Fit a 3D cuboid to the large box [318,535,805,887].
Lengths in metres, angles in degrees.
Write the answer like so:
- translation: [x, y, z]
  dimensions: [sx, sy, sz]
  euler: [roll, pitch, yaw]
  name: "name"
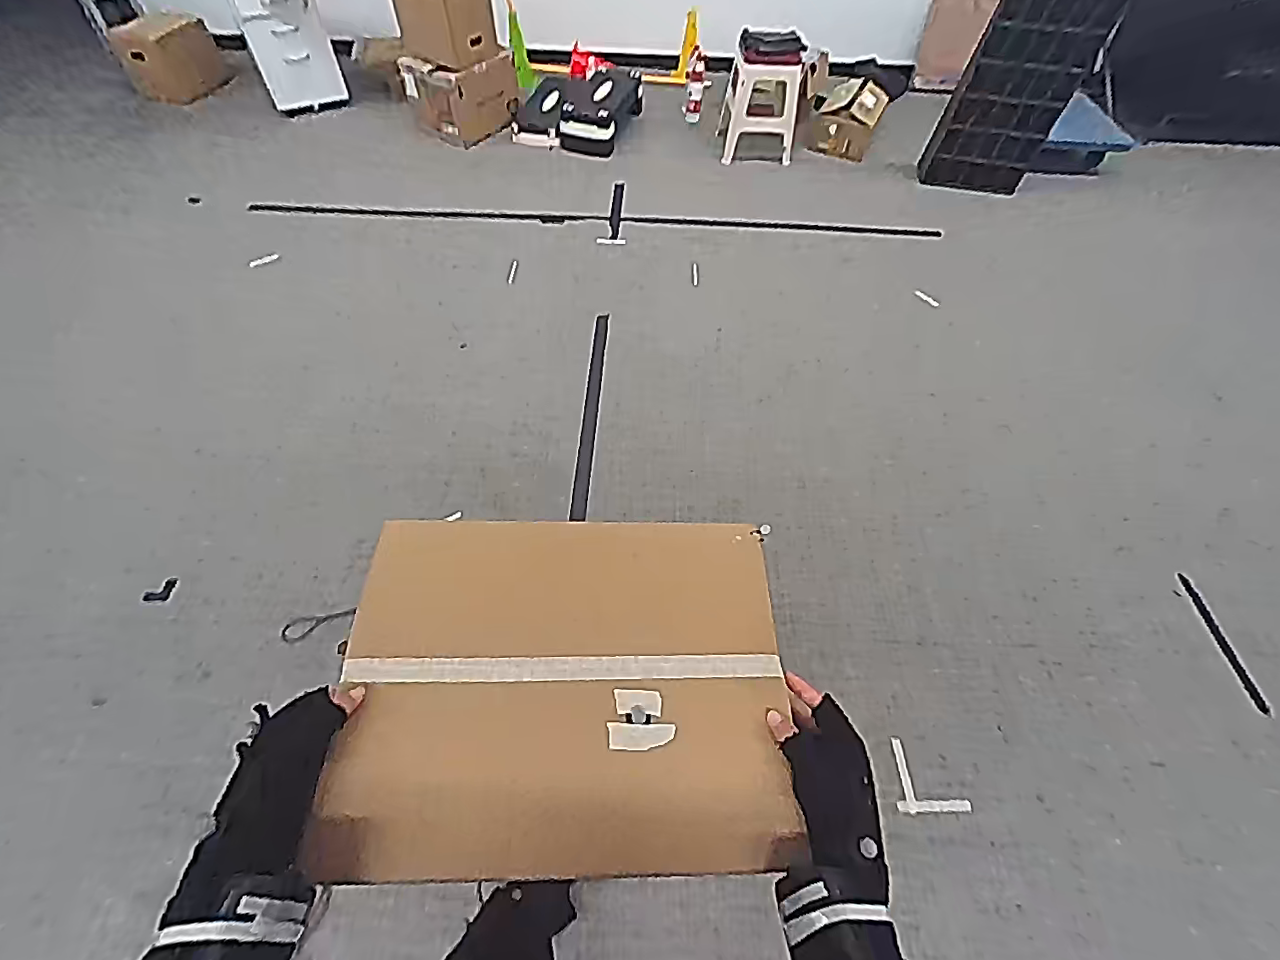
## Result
- translation: [-0.073, 0.273, 0.642]
  dimensions: [0.408, 0.320, 0.320]
  euler: [1, 57, -4]
  name: "large box"
